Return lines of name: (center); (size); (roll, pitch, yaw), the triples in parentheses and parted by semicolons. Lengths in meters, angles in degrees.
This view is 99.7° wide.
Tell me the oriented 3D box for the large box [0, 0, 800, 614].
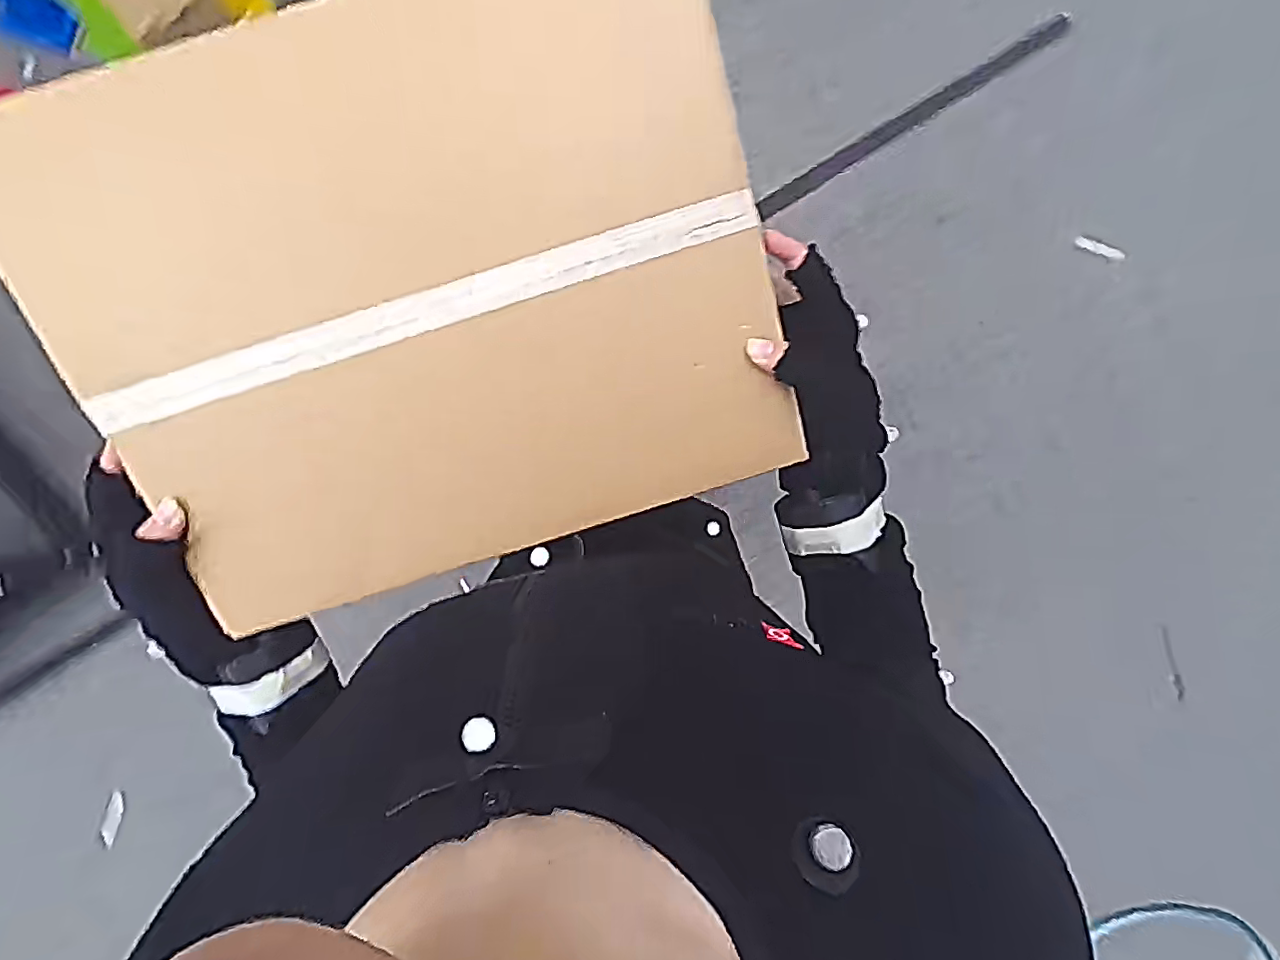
large box: (-0.133, -0.143, 0.470); (0.408, 0.320, 0.320); (-17, 107, 0)
